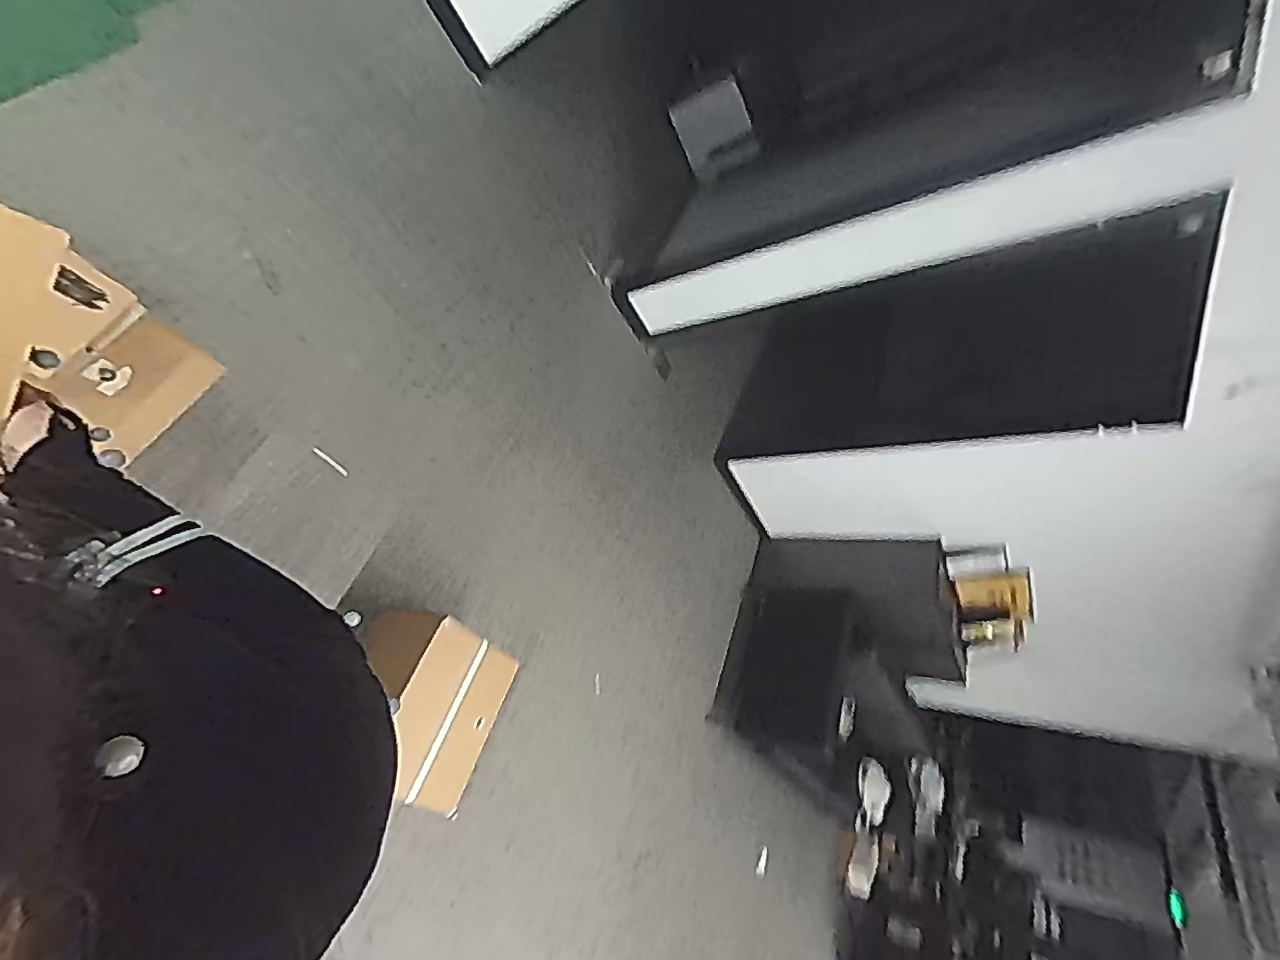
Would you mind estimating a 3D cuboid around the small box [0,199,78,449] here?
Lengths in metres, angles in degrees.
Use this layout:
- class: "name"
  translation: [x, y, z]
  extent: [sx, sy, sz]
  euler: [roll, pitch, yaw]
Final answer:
- class: "small box"
  translation: [-0.557, -0.131, 0.390]
  extent: [0.168, 0.176, 0.179]
  euler: [18, 82, -52]

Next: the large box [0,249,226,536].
- class: "large box"
  translation: [-1.060, -0.150, 0.945]
  extent: [0.320, 0.320, 0.408]
  euler: [51, 48, -38]
